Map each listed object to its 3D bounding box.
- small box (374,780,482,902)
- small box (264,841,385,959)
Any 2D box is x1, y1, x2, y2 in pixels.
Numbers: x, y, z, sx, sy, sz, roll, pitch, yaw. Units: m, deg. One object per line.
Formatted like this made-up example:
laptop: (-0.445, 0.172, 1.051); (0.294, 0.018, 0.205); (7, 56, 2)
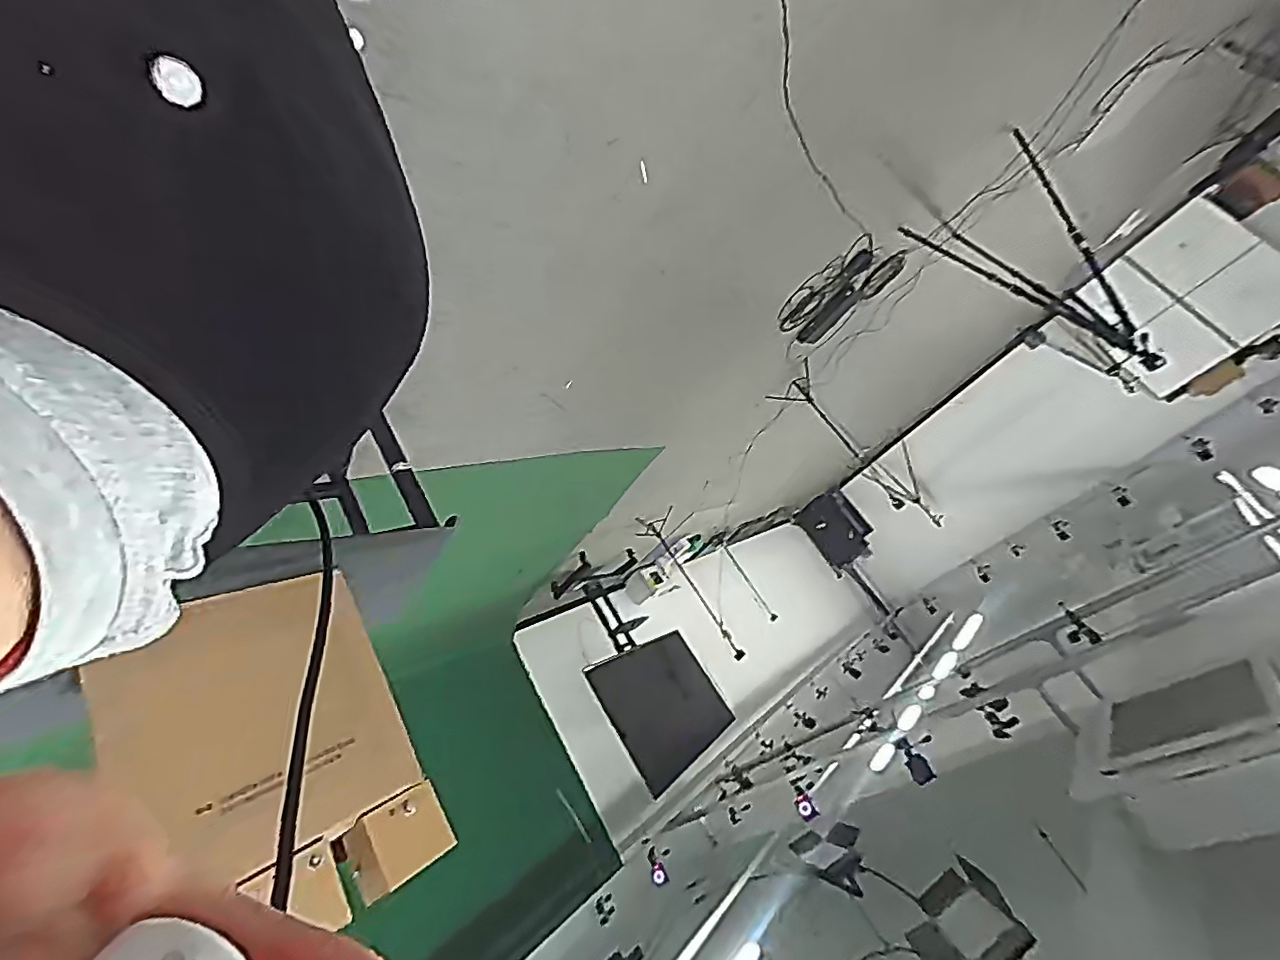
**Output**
small box: (-0.520, 0.869, 1.313); (0.168, 0.176, 0.179); (-14, 150, -50)
small box: (-0.669, 0.904, 1.140); (0.168, 0.176, 0.179); (-11, 150, -47)
